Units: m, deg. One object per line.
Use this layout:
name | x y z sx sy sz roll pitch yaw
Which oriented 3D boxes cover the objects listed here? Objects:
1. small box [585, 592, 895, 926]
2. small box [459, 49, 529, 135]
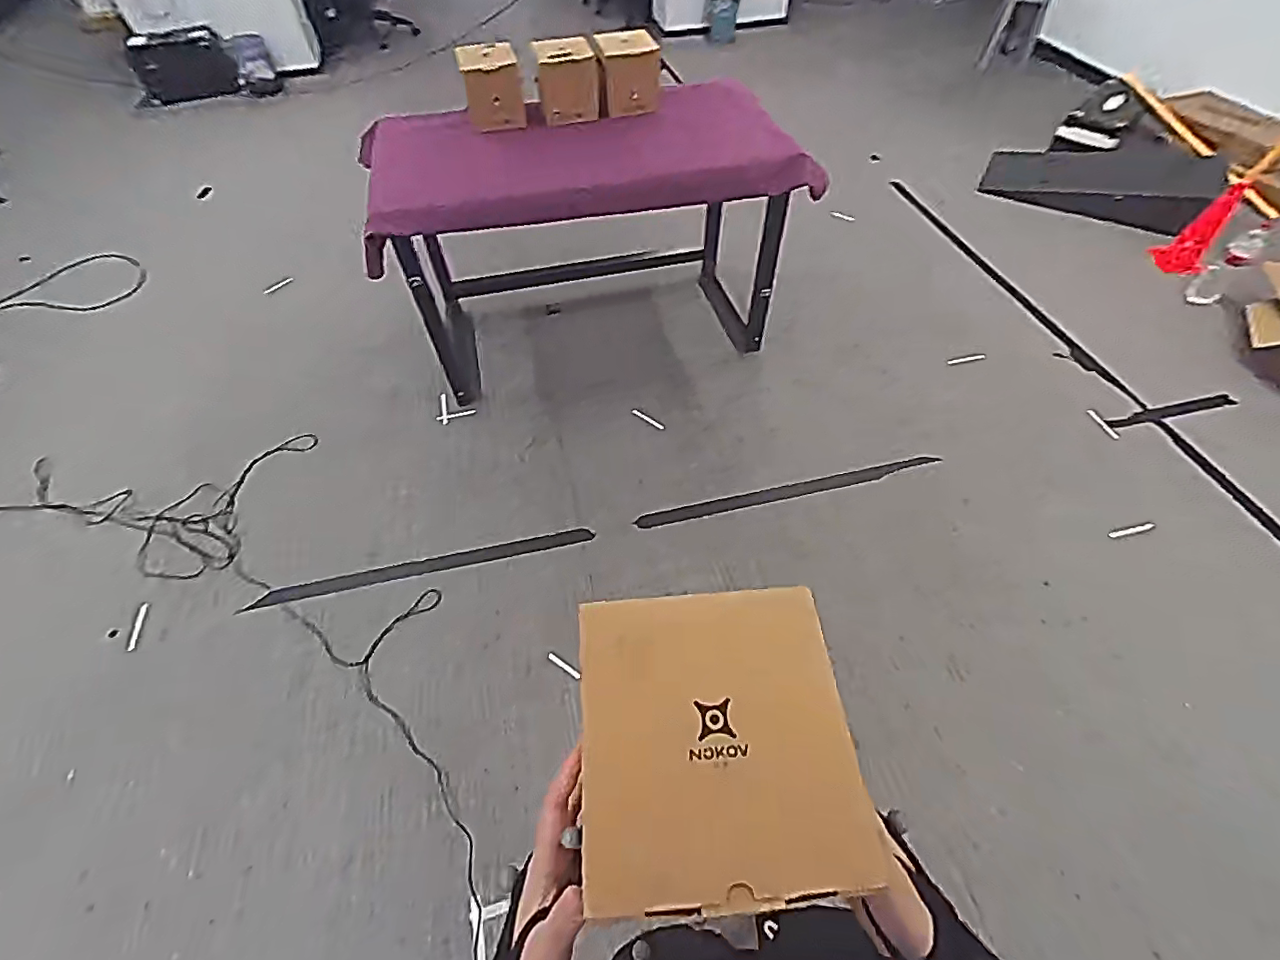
small box | 0.047 0.201 0.396 0.168 0.176 0.179 -4 55 -4
small box | -0.445 -1.186 1.663 0.168 0.176 0.179 -13 58 -8
